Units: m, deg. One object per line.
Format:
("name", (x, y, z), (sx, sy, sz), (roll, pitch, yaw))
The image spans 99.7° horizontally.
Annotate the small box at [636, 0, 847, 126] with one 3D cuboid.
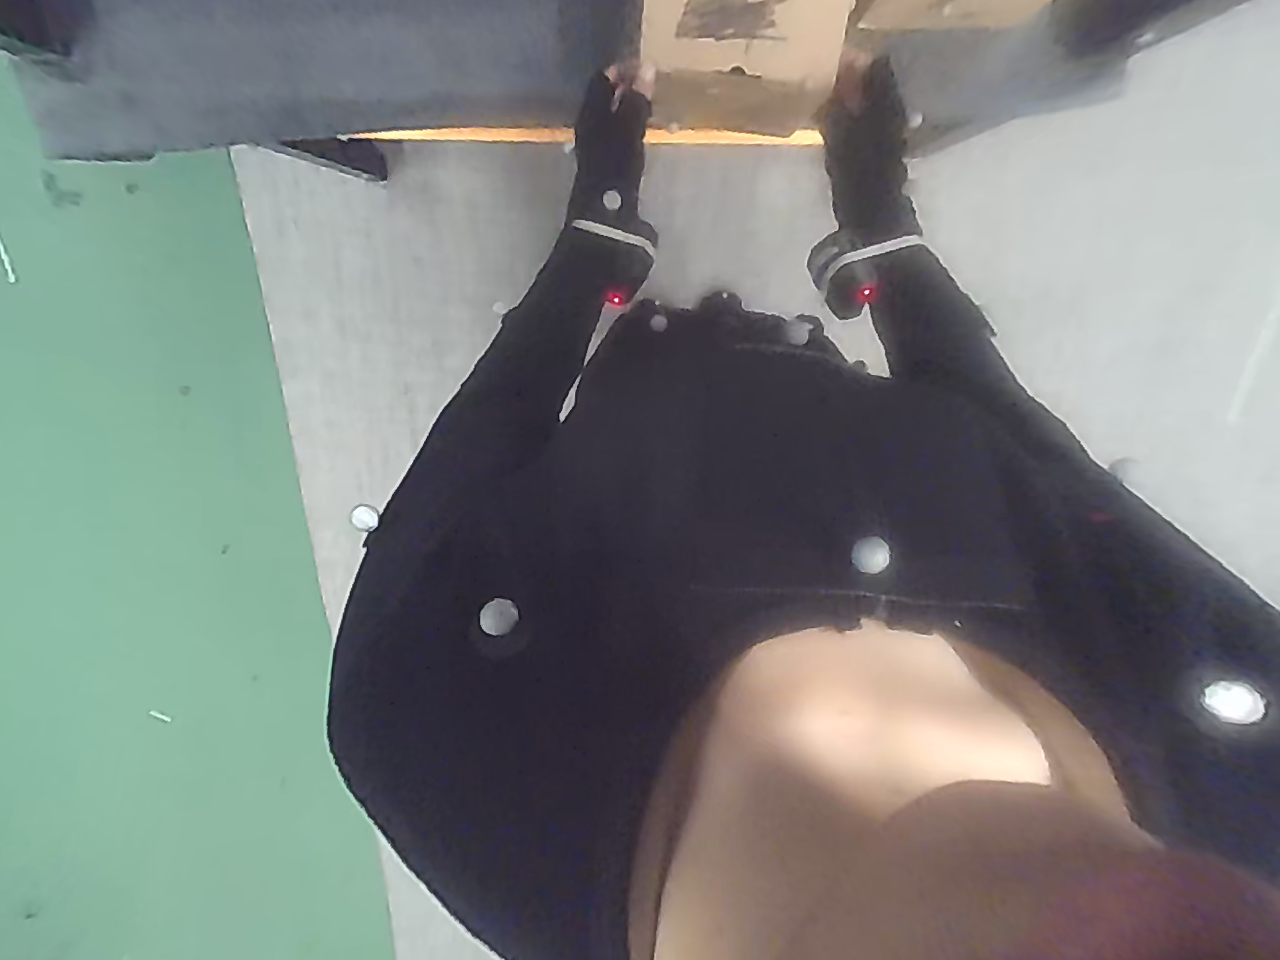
("small box", (0.091, -0.444, 0.488), (0.168, 0.176, 0.179), (7, 110, 1))
